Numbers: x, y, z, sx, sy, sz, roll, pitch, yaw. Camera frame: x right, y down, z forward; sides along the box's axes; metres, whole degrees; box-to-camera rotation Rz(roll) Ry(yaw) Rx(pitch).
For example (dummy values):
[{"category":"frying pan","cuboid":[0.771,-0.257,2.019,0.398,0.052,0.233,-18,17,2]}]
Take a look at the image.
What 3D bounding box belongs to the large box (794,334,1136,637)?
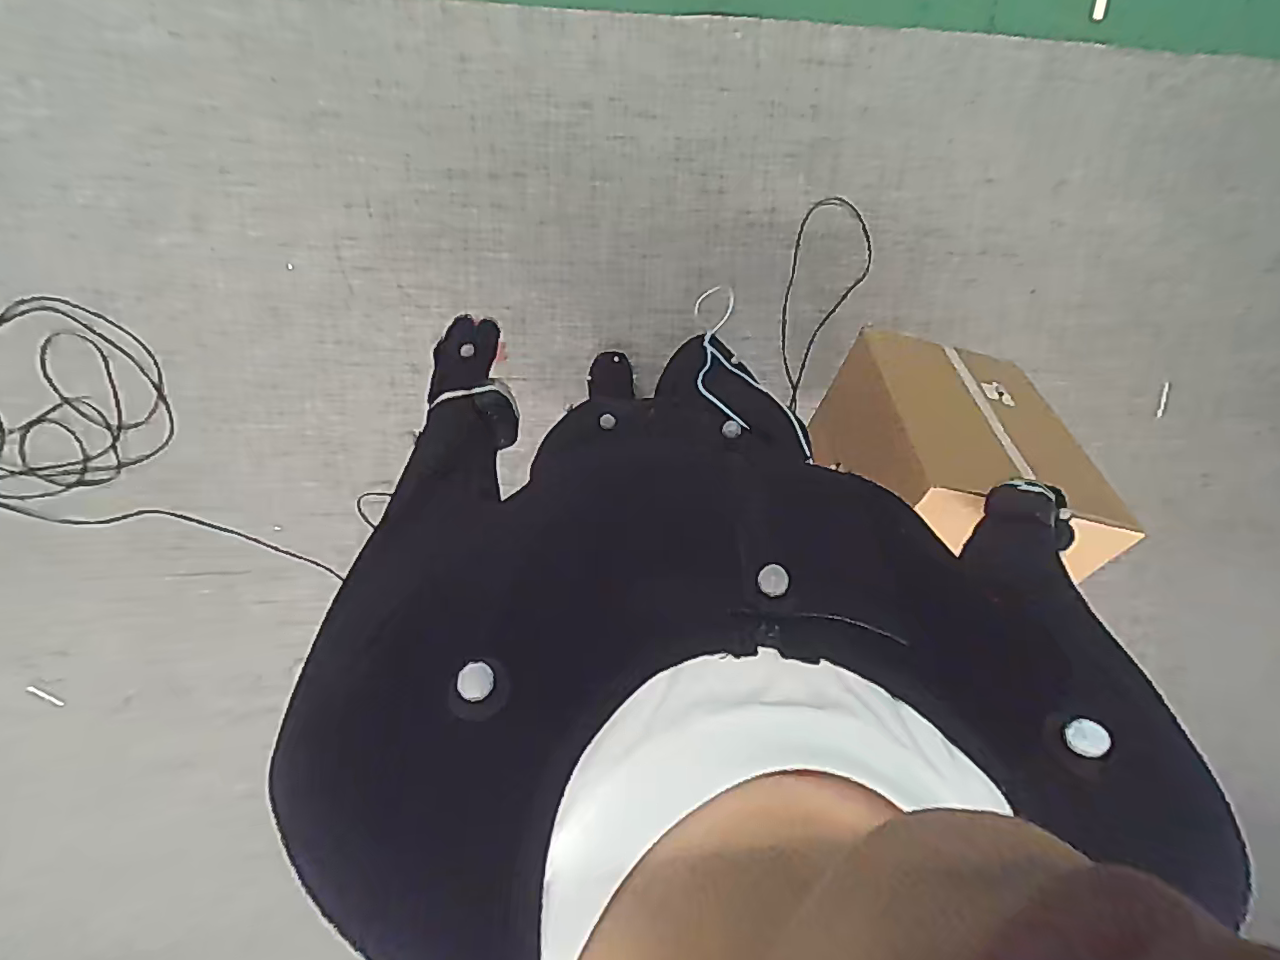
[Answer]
[{"category":"large box","cuboid":[0.498,0.008,0.948,0.320,0.408,0.320,13,133,-6]}]
